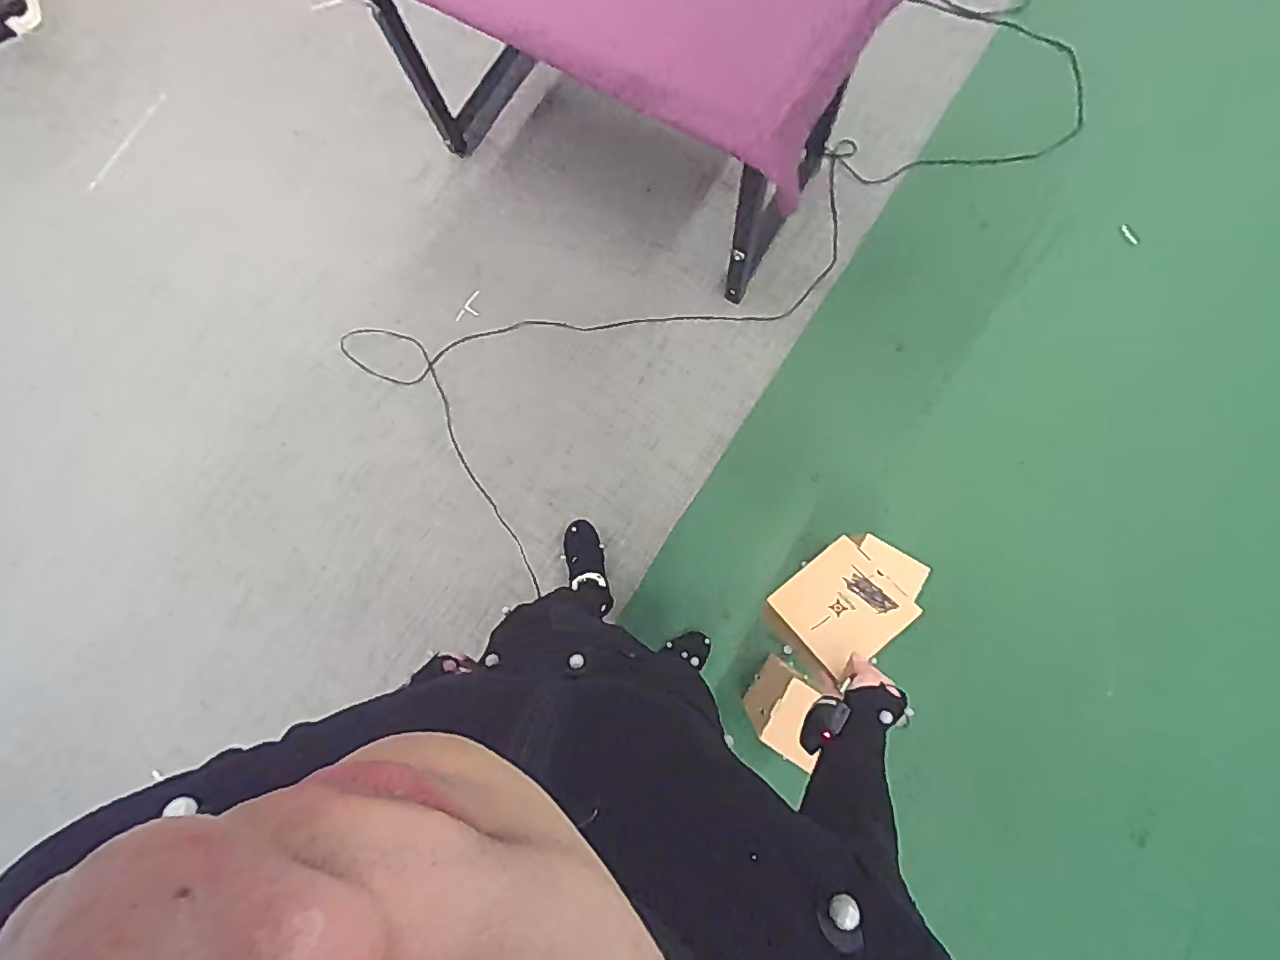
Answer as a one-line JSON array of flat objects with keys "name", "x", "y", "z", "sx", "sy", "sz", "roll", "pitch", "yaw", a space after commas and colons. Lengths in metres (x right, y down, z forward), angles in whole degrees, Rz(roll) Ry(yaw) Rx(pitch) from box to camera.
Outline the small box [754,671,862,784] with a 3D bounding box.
[{"name": "small box", "x": 0.393, "y": 0.583, "z": 1.303, "sx": 0.179, "sy": 0.176, "sz": 0.168, "roll": 32, "pitch": 85, "yaw": 9}]

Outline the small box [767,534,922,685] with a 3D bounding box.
[{"name": "small box", "x": 0.331, "y": 0.225, "z": 0.920, "sx": 0.179, "sy": 0.176, "sz": 0.168, "roll": -38, "pitch": 64, "yaw": -7}]

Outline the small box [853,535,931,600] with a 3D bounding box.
[{"name": "small box", "x": 0.574, "y": 0.254, "z": 1.343, "sx": 0.168, "sy": 0.176, "sz": 0.179, "roll": 31, "pitch": 84, "yaw": 8}]
